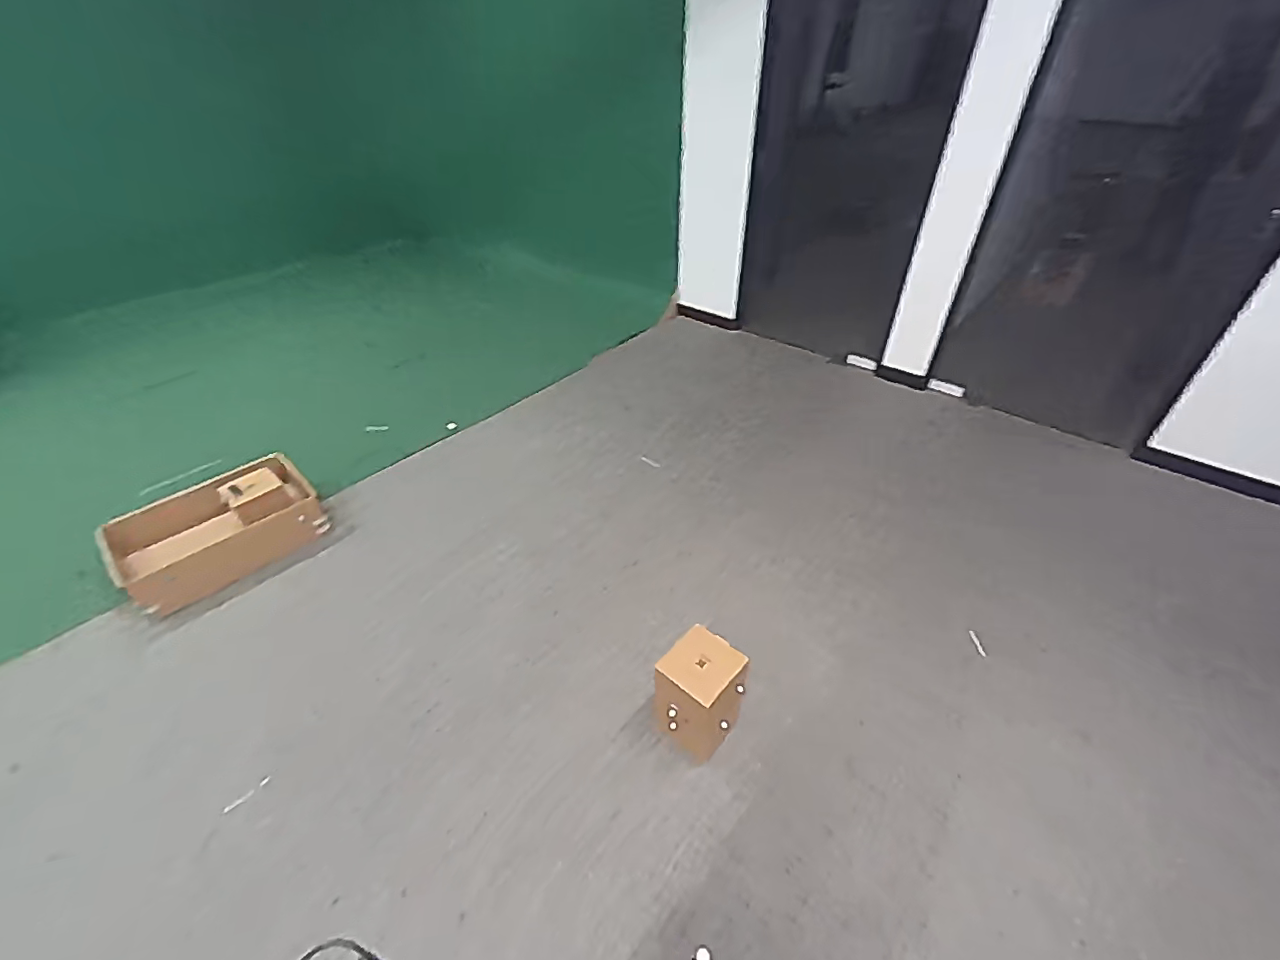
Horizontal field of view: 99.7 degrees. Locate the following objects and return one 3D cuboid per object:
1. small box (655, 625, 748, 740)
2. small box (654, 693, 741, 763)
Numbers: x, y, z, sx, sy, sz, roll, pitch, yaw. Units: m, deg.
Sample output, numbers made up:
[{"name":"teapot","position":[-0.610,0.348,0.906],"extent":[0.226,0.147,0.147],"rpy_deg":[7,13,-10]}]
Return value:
[{"name":"small box","position":[0.151,0.514,1.375],"extent":[0.168,0.176,0.179],"rpy_deg":[28,48,33]},{"name":"small box","position":[0.154,0.634,1.486],"extent":[0.179,0.176,0.168],"rpy_deg":[29,48,32]}]
